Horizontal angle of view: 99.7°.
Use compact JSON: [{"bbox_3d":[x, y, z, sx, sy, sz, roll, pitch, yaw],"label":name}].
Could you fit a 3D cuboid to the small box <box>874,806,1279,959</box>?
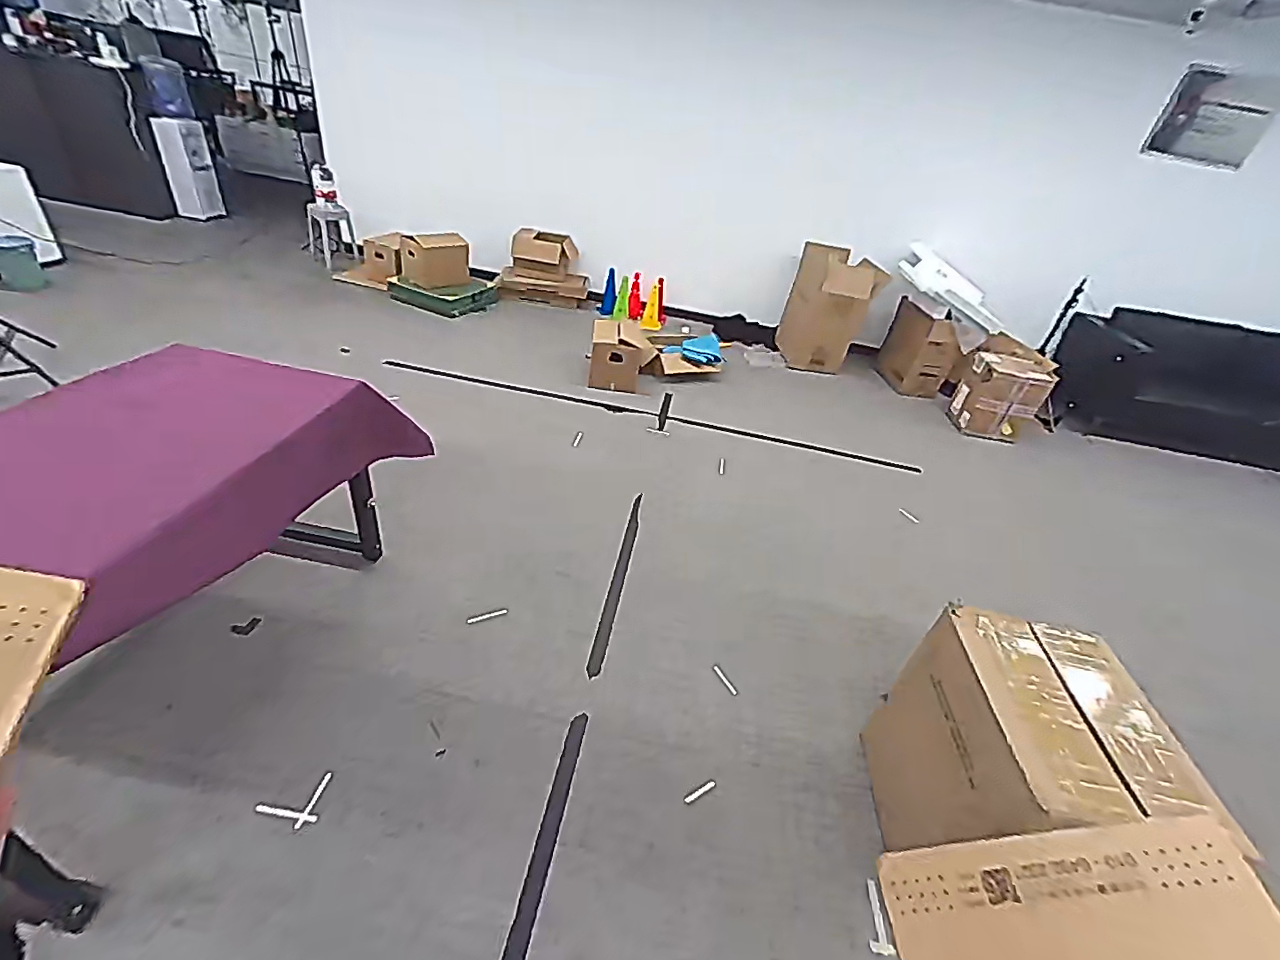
[{"bbox_3d":[0.250,0.288,0.289,0.168,0.179,0.176,-25,44,22],"label":"small box"}]
